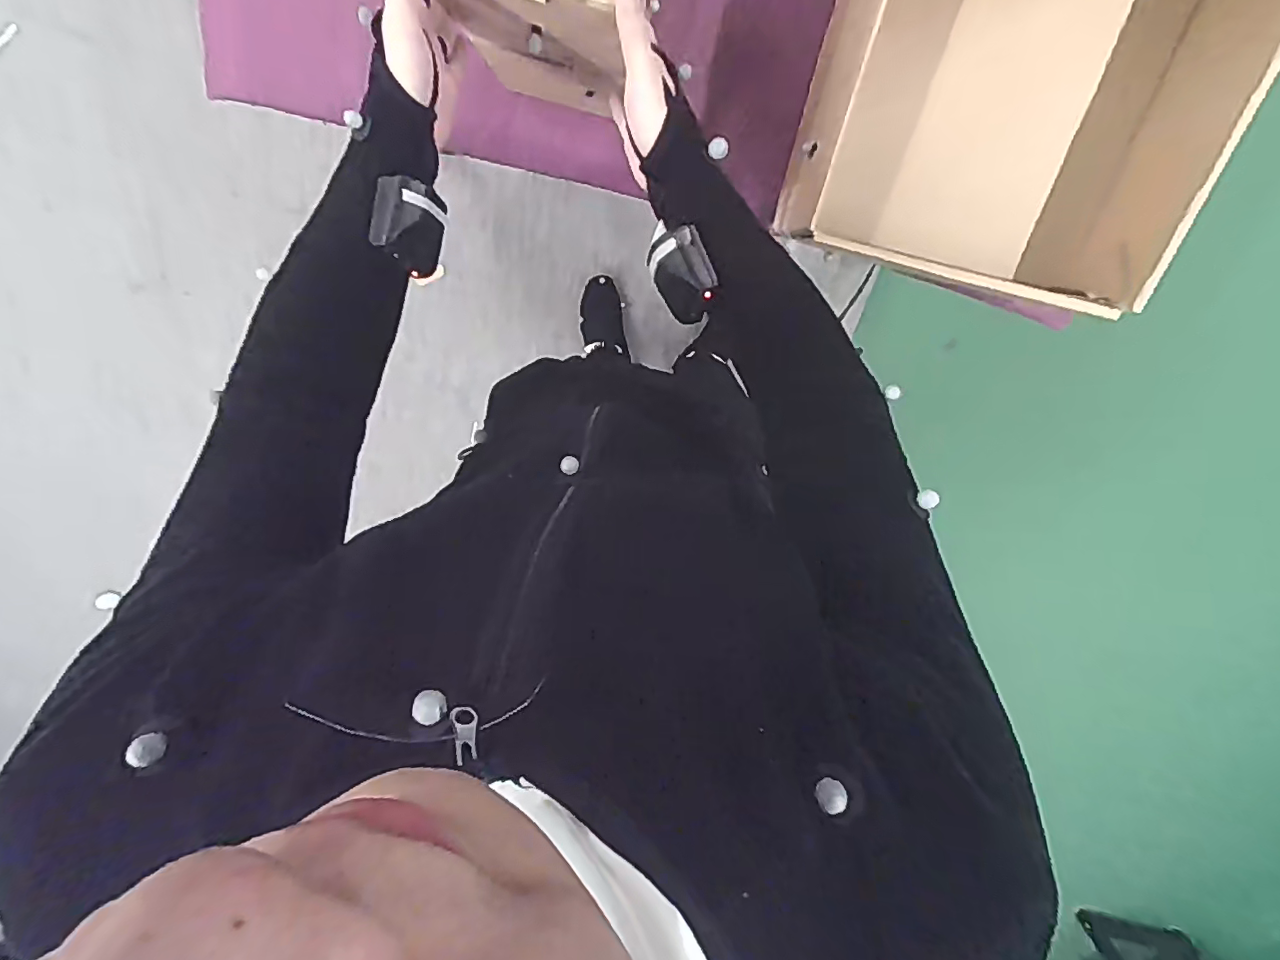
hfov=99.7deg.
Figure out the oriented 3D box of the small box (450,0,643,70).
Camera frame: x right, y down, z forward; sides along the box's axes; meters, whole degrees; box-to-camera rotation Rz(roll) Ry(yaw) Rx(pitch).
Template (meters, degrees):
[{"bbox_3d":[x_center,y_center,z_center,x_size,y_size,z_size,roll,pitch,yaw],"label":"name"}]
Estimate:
[{"bbox_3d":[-0.072,-0.472,0.439,0.168,0.176,0.179,12,113,-5],"label":"small box"}]
